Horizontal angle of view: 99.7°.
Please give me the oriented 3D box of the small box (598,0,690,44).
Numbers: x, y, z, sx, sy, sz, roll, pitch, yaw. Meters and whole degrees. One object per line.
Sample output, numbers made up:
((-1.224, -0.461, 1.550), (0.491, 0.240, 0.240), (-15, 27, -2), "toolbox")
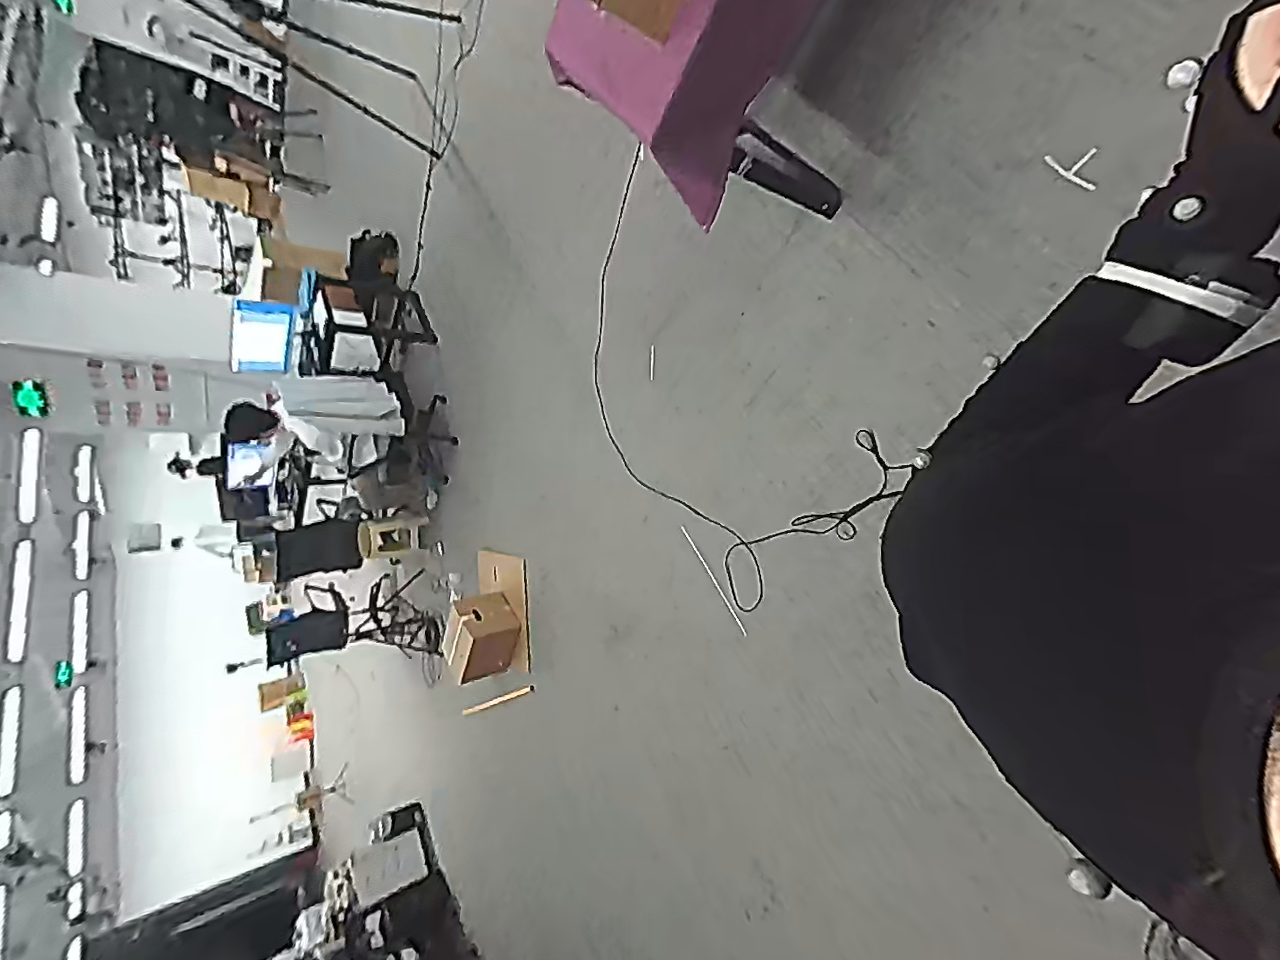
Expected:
((0.008, -1.016, 1.065), (0.179, 0.176, 0.168), (-53, 54, 37), "small box")
